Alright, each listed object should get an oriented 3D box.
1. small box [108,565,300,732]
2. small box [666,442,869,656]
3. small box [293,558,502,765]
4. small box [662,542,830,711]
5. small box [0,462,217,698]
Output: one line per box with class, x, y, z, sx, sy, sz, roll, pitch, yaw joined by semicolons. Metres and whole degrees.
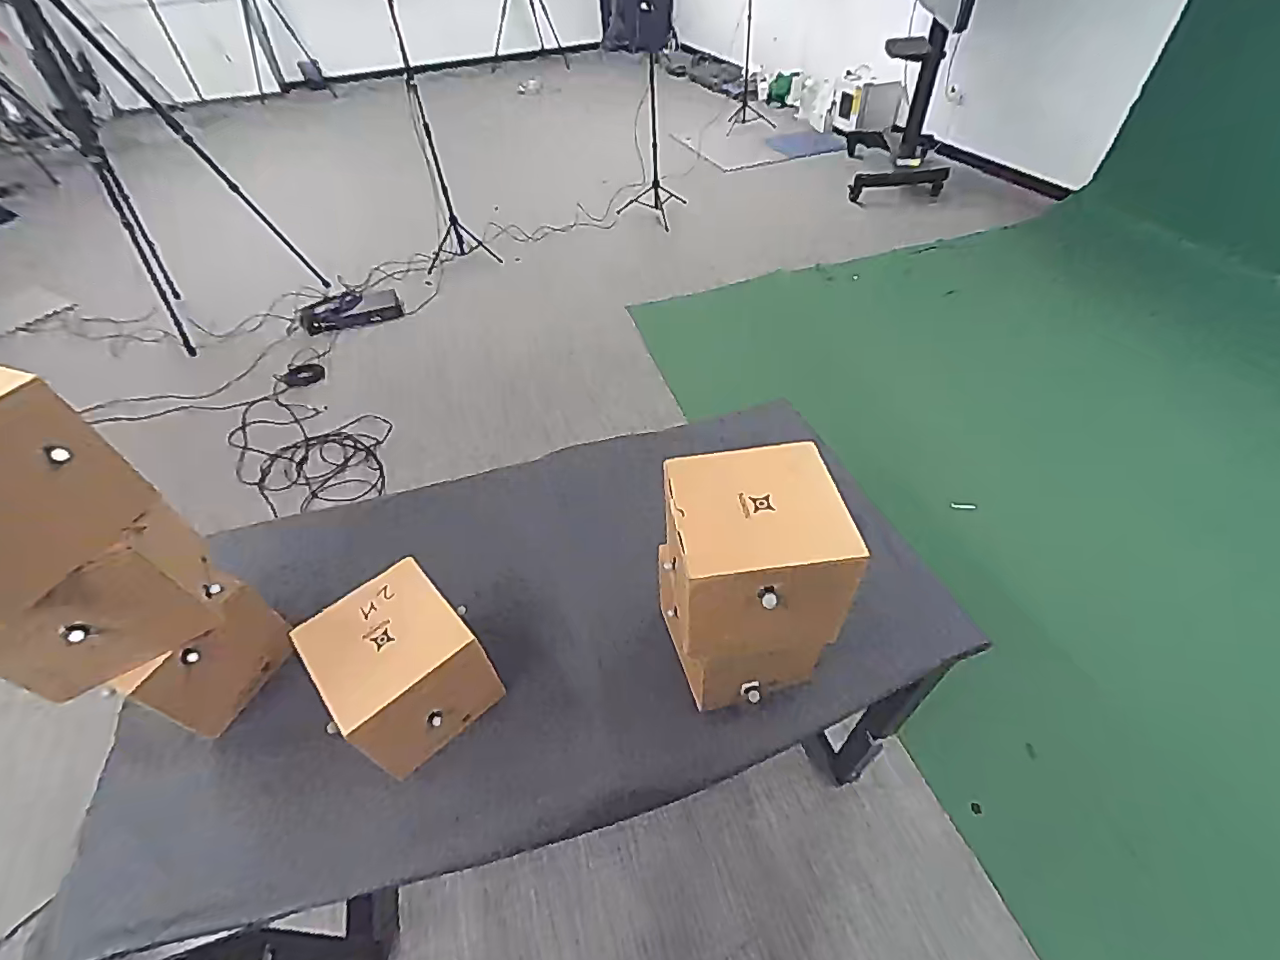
small box;-0.633;0.225;0.759;0.179;0.176;0.168;15;50;17
small box;0.127;0.080;0.615;0.179;0.176;0.168;-8;46;-1
small box;-0.308;0.245;0.716;0.168;0.176;0.179;-35;53;-26
small box;0.133;0.182;0.742;0.168;0.176;0.179;-15;47;-8
small box;-0.639;0.117;0.635;0.179;0.176;0.168;-30;53;-22
